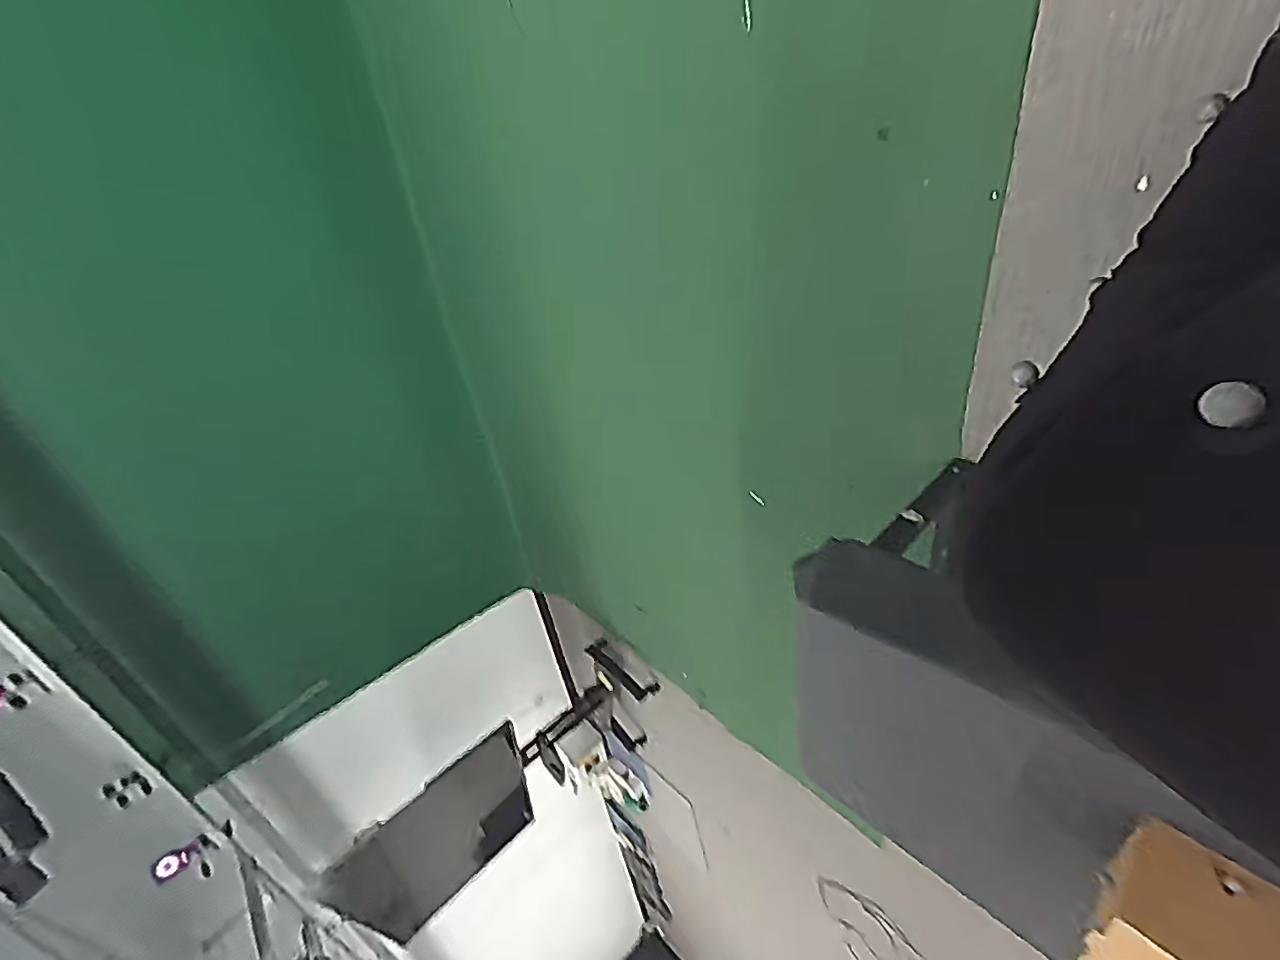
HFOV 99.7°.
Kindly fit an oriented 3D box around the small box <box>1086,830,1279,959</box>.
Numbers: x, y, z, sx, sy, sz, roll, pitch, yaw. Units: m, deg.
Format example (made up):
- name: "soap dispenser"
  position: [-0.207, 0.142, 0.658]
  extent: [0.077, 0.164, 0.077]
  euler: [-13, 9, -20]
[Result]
- name: "small box"
  position: [0.722, 0.591, 0.687]
  extent: [0.179, 0.176, 0.168]
  euler: [26, 136, 43]
